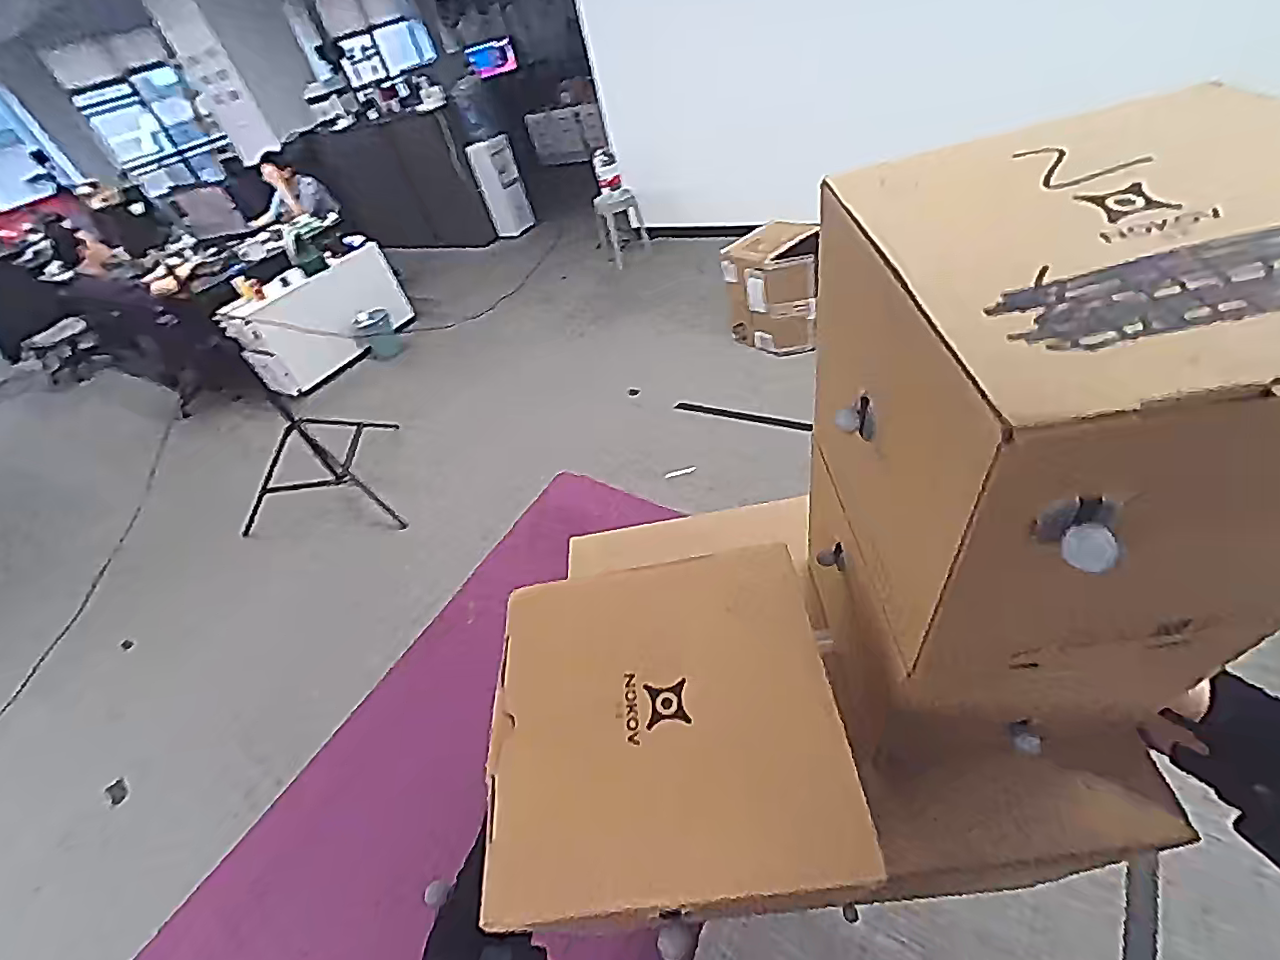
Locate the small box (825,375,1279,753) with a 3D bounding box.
[{"bbox_3d":[0.229,0.061,0.362,0.168,0.176,0.179,-11,49,8],"label":"small box"}]

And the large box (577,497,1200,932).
[{"bbox_3d":[0.174,0.239,0.556,0.408,0.320,0.320,-12,46,6],"label":"large box"}]
